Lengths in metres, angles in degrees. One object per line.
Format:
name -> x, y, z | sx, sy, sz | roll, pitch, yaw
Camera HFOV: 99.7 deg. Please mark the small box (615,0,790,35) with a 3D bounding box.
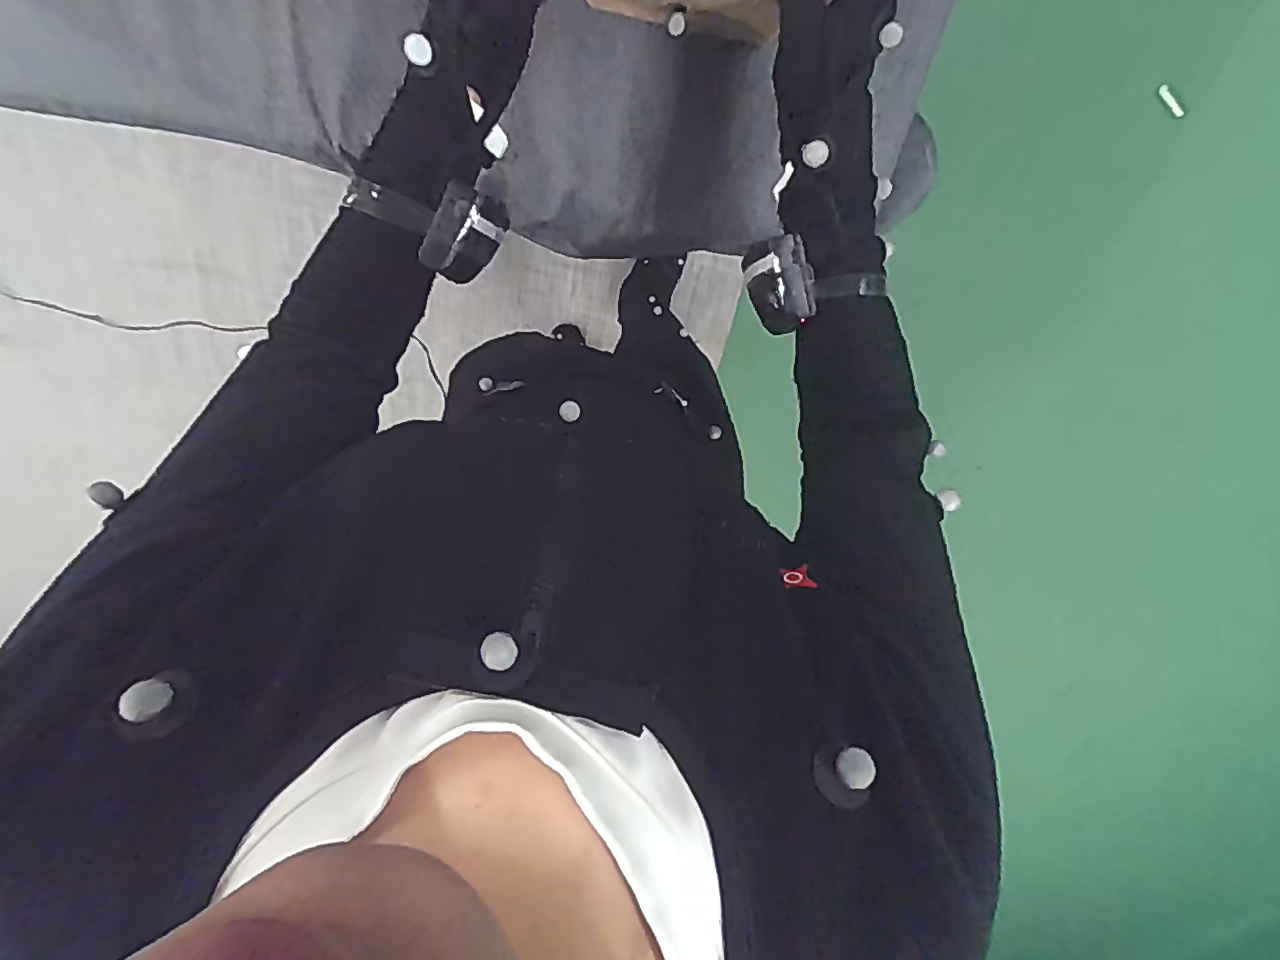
small box -> 0.045, -0.439, 0.371 | 0.168, 0.176, 0.179 | 11, 122, -1
